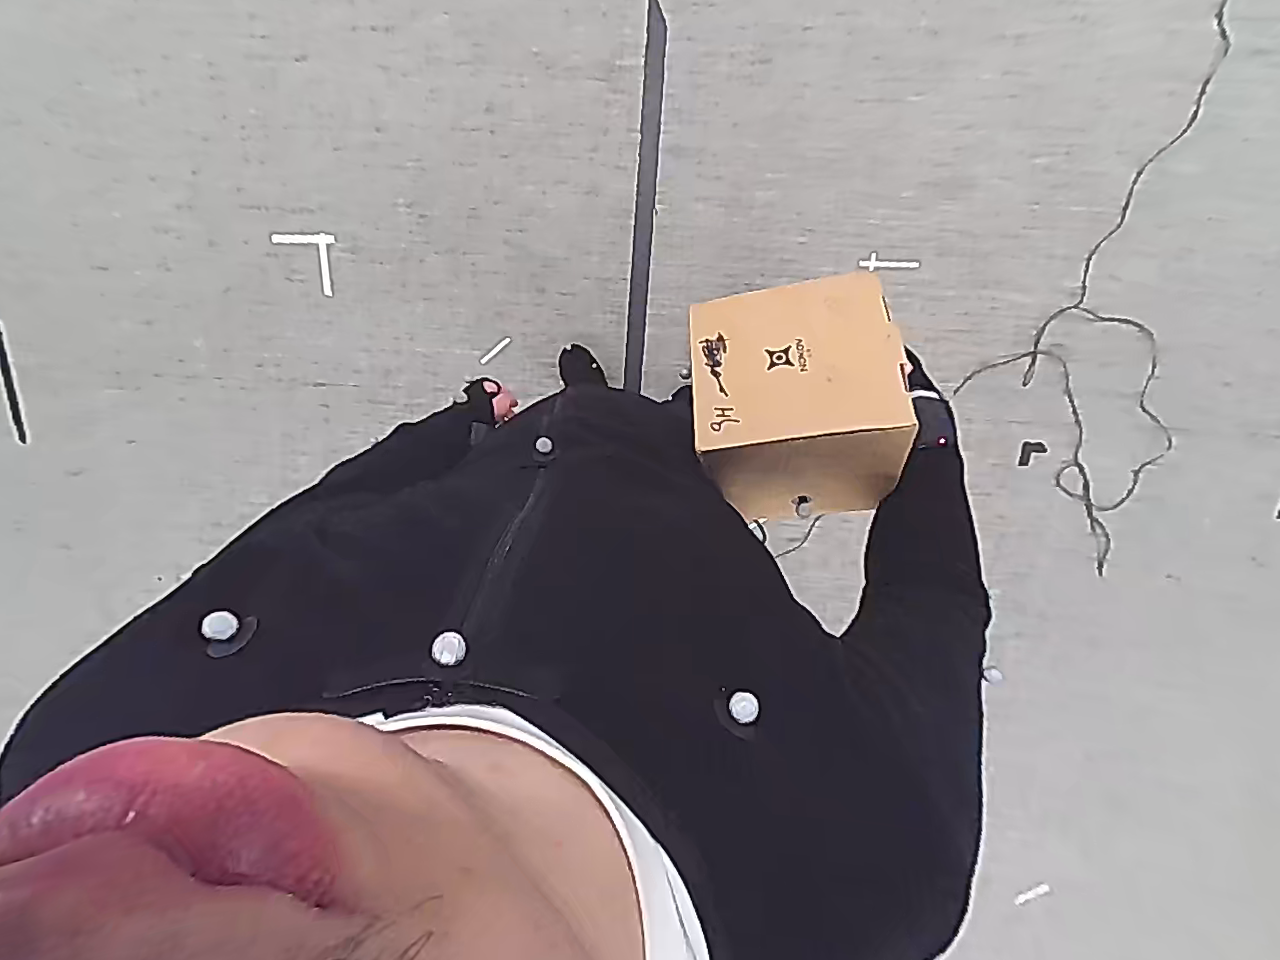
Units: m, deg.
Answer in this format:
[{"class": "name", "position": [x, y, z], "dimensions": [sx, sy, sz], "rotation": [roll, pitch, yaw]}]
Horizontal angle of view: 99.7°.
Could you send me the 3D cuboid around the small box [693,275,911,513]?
[{"class": "small box", "position": [0.154, -0.075, 0.556], "dimensions": [0.179, 0.176, 0.168], "rotation": [-6, 63, 13]}]
